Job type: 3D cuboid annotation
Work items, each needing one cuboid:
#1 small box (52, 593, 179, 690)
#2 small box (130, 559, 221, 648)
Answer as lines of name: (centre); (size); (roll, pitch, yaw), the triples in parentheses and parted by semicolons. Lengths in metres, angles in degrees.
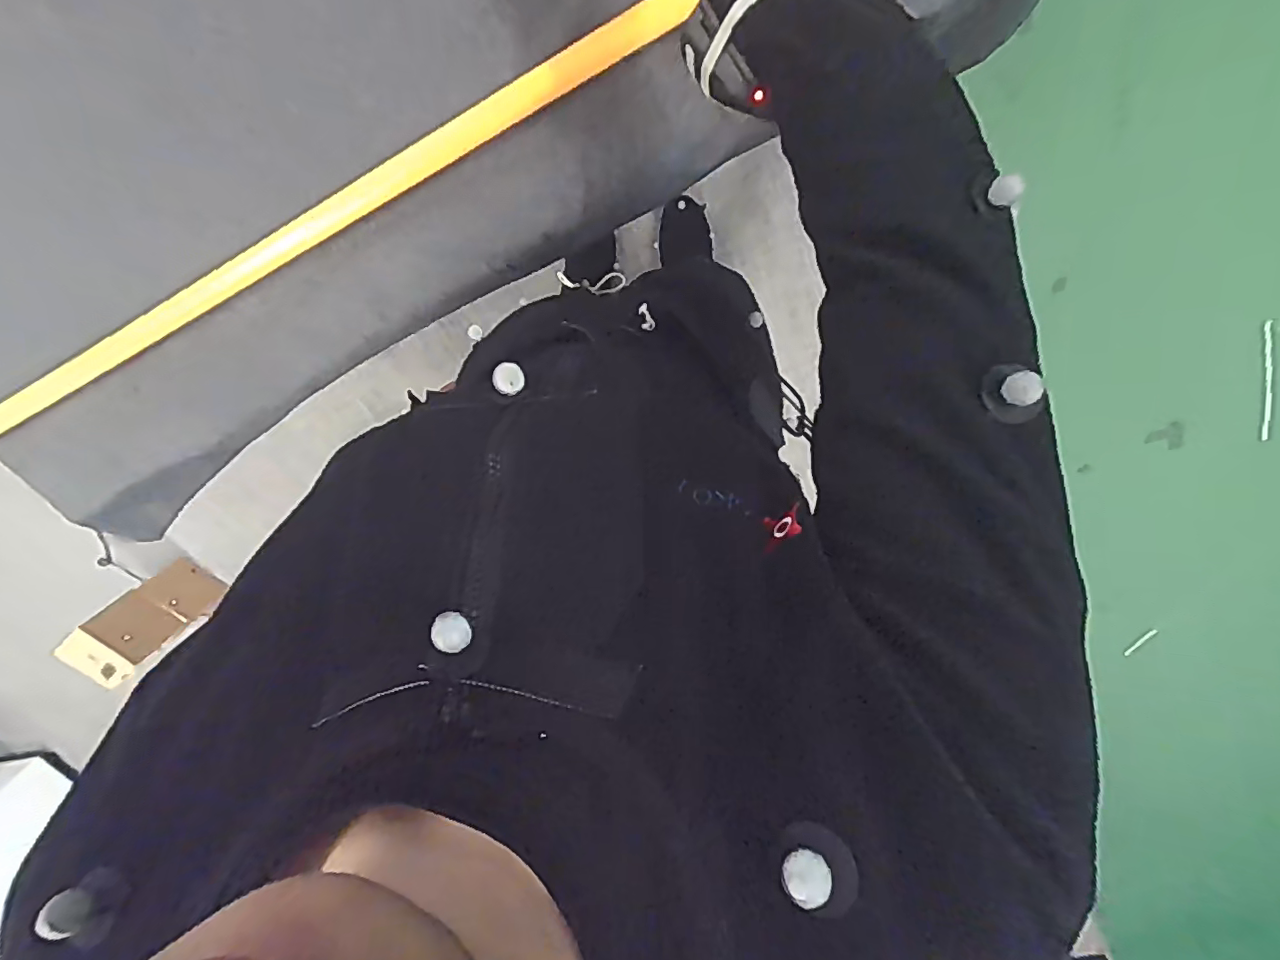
small box: (-1.507, 0.463, 1.565); (0.168, 0.176, 0.179); (-35, 110, 20)
small box: (-1.485, 0.388, 1.711); (0.179, 0.176, 0.168); (-40, 108, 23)
